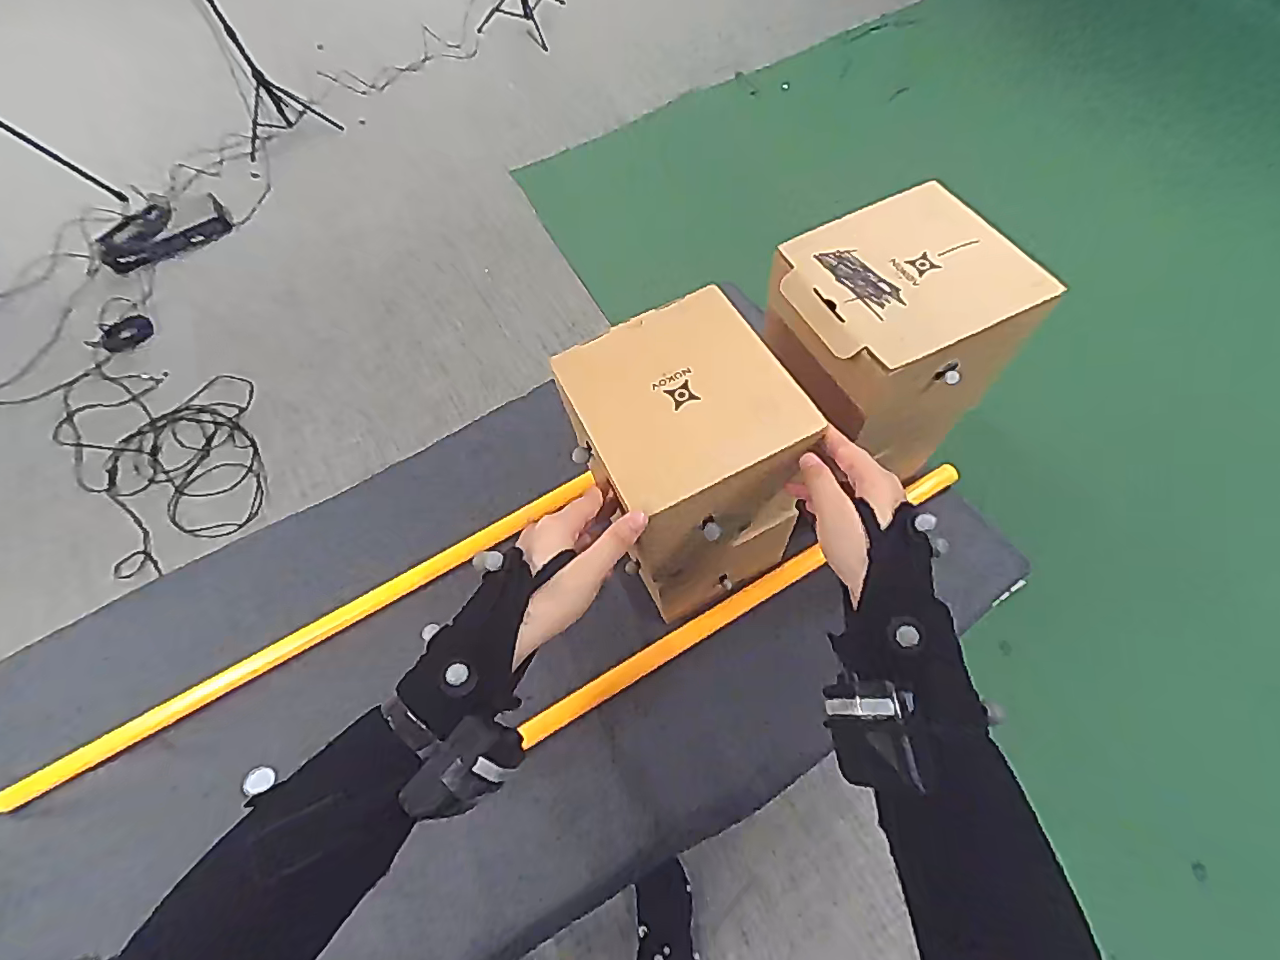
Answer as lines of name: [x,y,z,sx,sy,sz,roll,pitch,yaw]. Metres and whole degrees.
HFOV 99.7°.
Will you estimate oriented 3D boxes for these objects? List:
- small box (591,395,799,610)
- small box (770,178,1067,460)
small box: [0.062,0.039,0.641,0.168,0.176,0.179,-26,64,-6]
small box: [0.243,-0.146,0.531,0.179,0.176,0.168,-25,64,-7]
